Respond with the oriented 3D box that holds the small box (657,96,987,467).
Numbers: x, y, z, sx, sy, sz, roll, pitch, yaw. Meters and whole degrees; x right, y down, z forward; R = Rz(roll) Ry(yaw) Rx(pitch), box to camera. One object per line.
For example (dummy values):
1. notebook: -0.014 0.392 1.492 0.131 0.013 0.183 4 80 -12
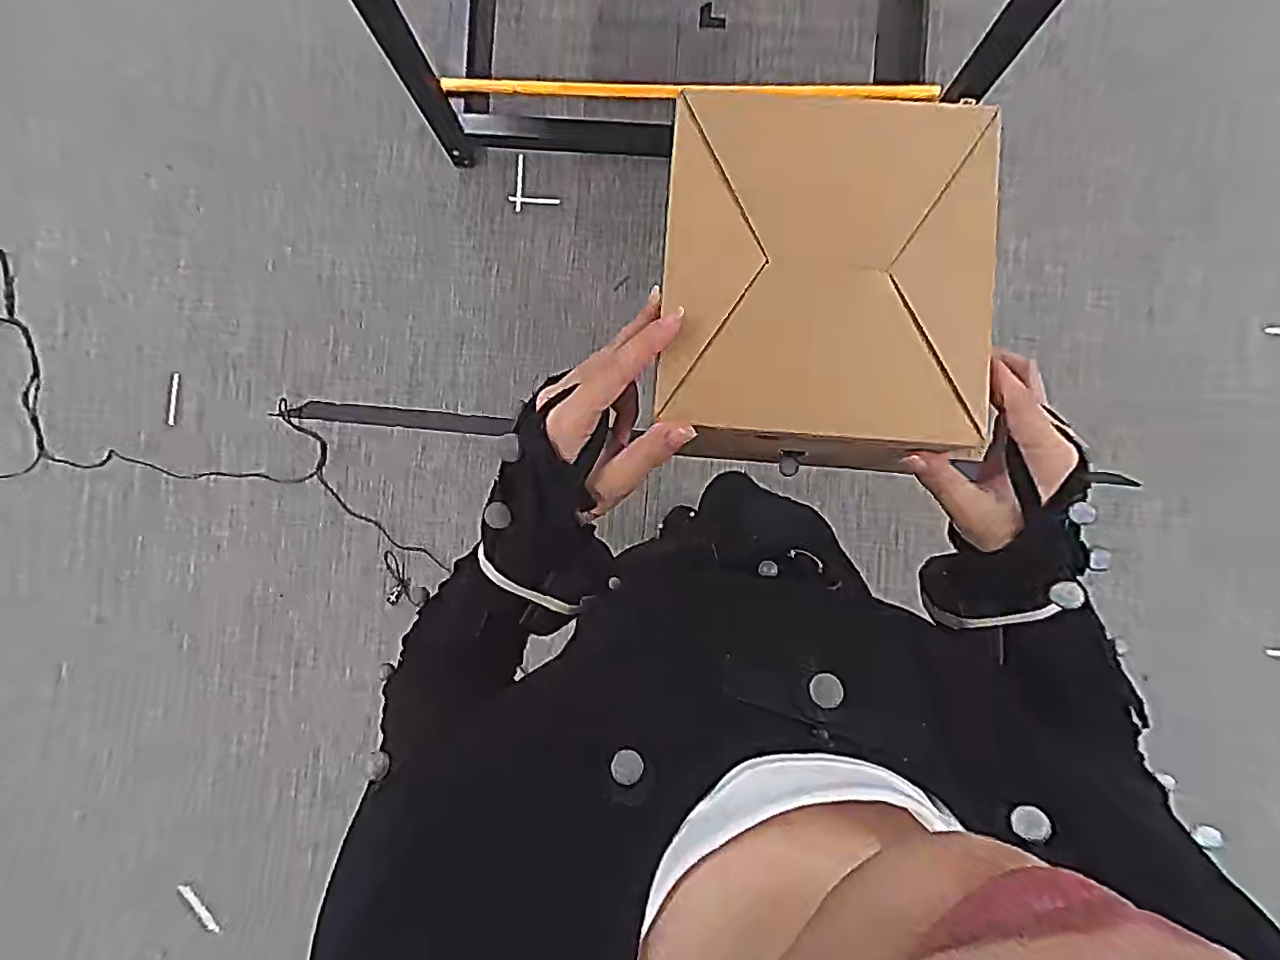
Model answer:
1. small box: 0.097 -0.107 0.357 0.168 0.176 0.179 4 87 1
